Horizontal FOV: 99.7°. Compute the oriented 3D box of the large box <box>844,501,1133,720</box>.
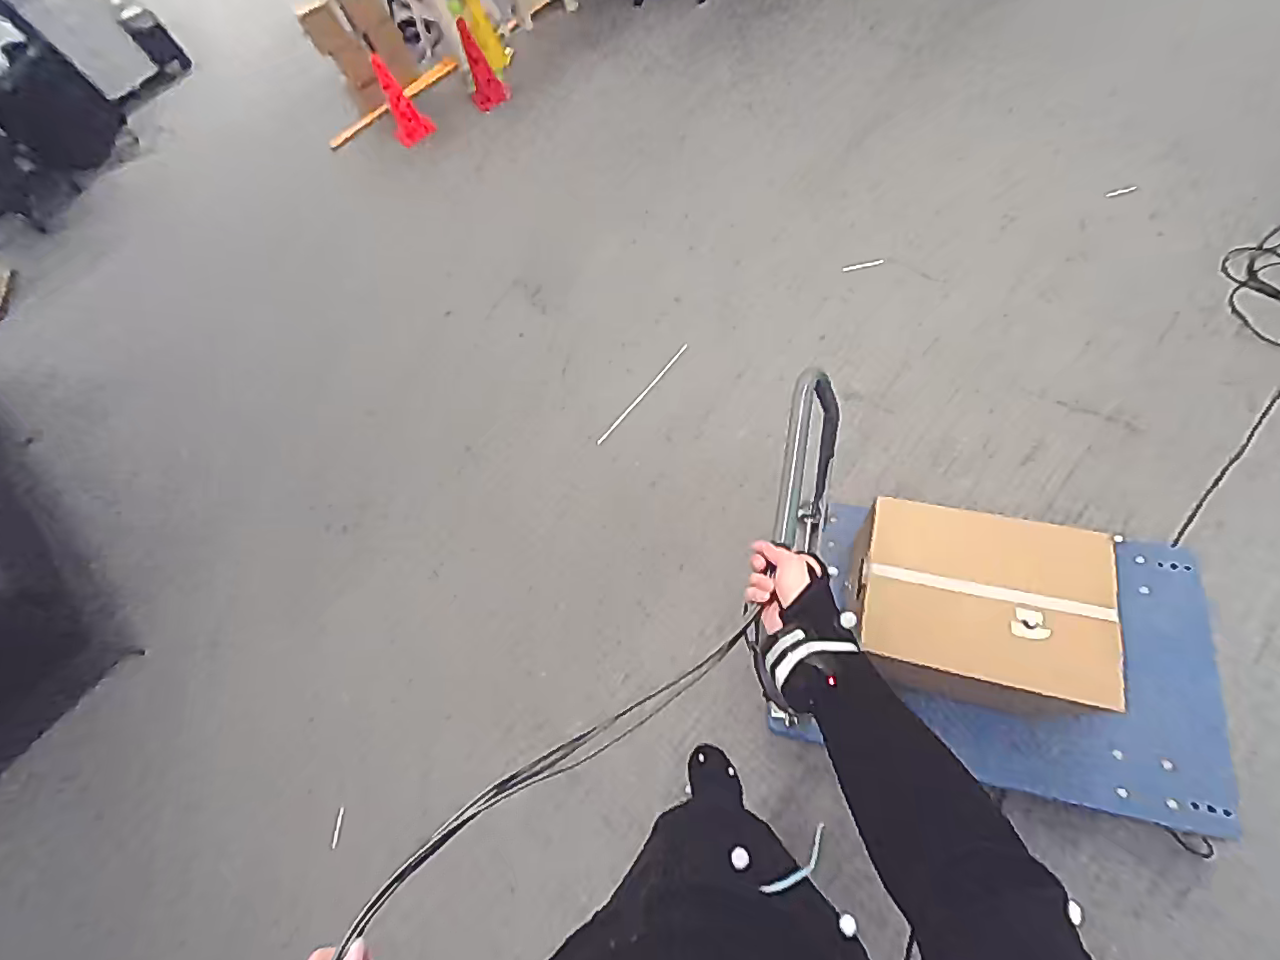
[{"bbox_3d":[0.659,0.270,1.098,0.408,0.320,0.320,10,68,16],"label":"large box"}]
